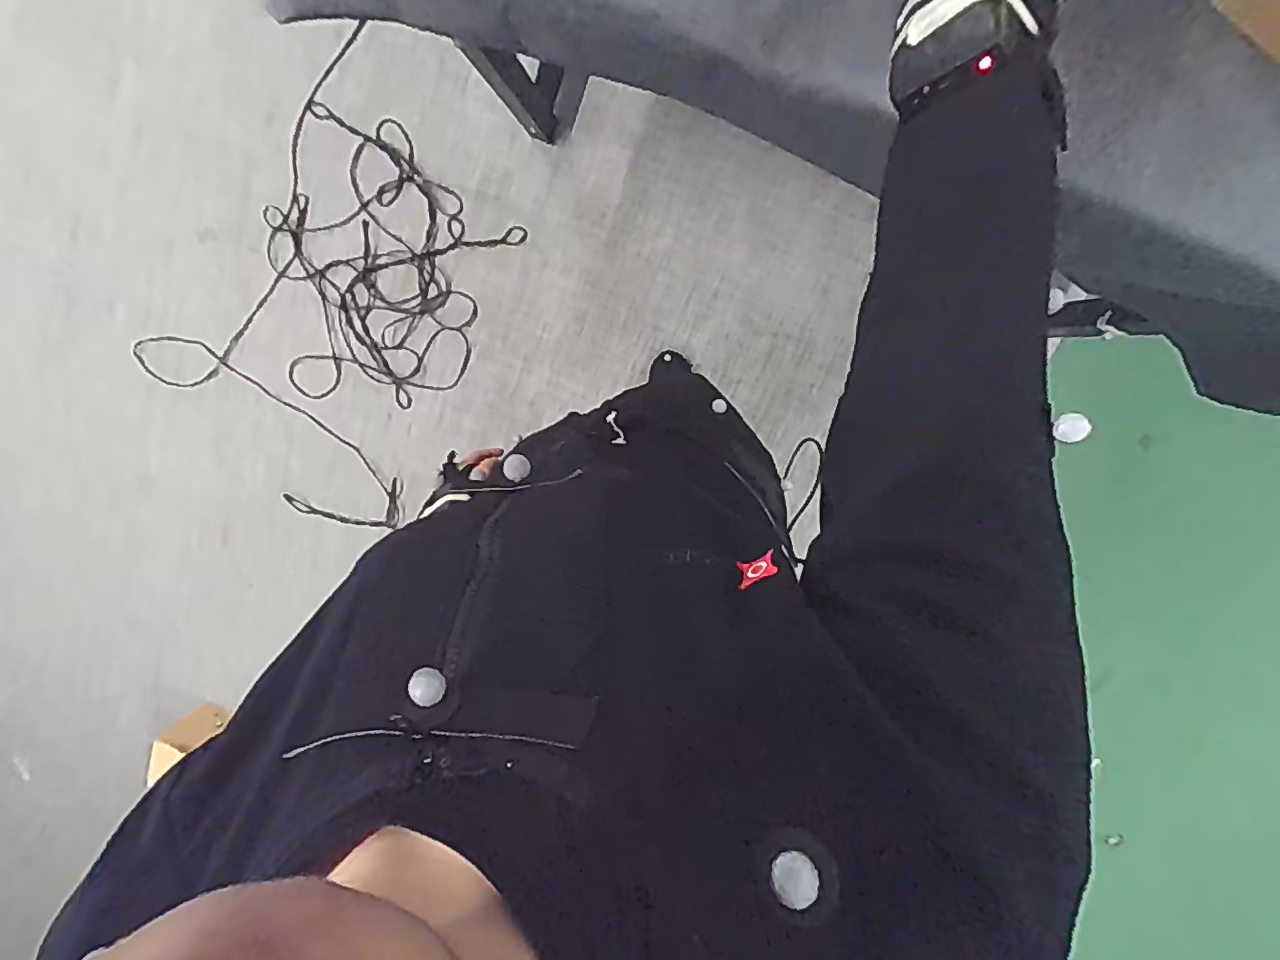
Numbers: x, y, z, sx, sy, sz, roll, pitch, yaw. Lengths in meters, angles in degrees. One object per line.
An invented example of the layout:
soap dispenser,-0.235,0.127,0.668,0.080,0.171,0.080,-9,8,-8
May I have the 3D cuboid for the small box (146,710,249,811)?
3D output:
small box,-1.313,0.831,1.614,0.168,0.176,0.179,21,104,1
